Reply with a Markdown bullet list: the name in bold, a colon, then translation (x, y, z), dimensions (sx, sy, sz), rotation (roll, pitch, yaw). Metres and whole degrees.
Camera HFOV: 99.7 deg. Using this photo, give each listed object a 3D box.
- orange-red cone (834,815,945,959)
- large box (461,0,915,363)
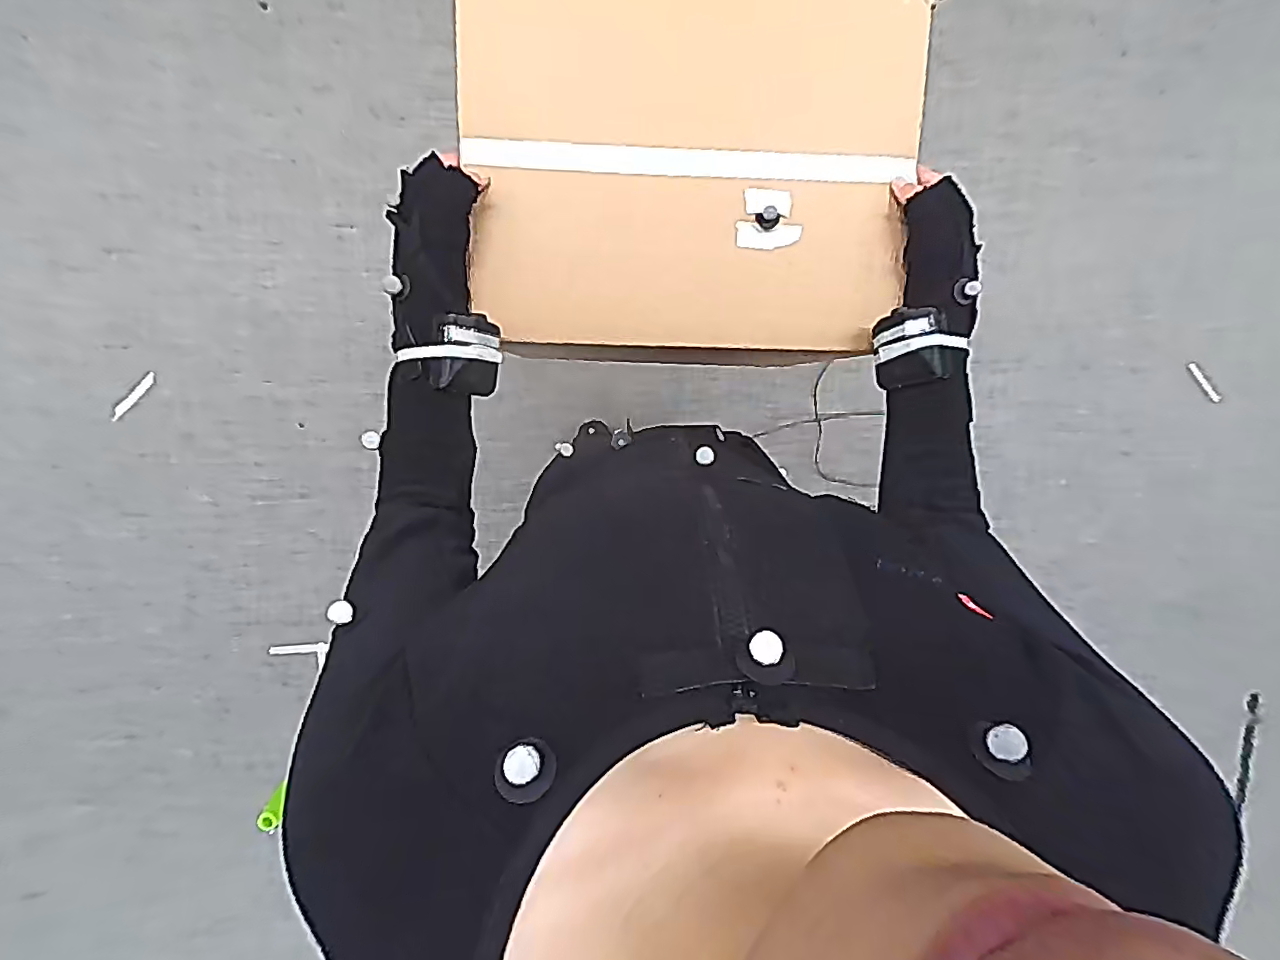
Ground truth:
- **orange-red cone**: translation (0.681, 1.102, 1.430), dimensions (0.198, 0.360, 0.199), rotation (-3, 94, -3)
- **large box**: translation (0.034, -0.304, 0.632), dimensions (0.408, 0.320, 0.320), rotation (0, 100, -5)
